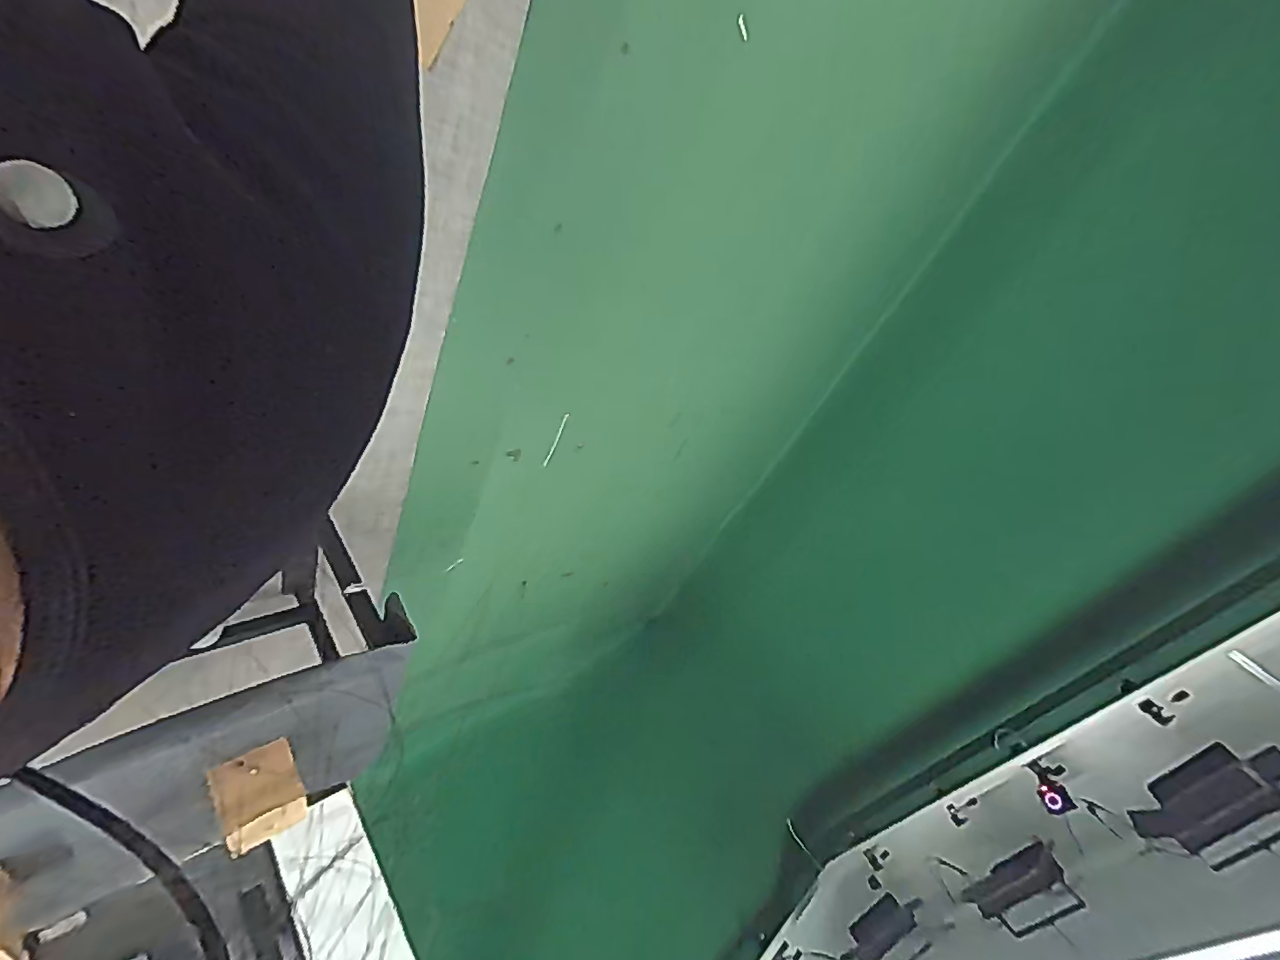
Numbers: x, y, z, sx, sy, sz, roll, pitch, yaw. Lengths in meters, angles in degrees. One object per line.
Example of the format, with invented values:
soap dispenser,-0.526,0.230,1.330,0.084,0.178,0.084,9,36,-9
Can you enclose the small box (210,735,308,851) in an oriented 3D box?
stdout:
small box,-0.954,0.781,1.361,0.168,0.176,0.179,-17,145,-42

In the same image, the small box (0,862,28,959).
small box,-1.303,0.869,1.019,0.168,0.176,0.179,-13,143,-44
